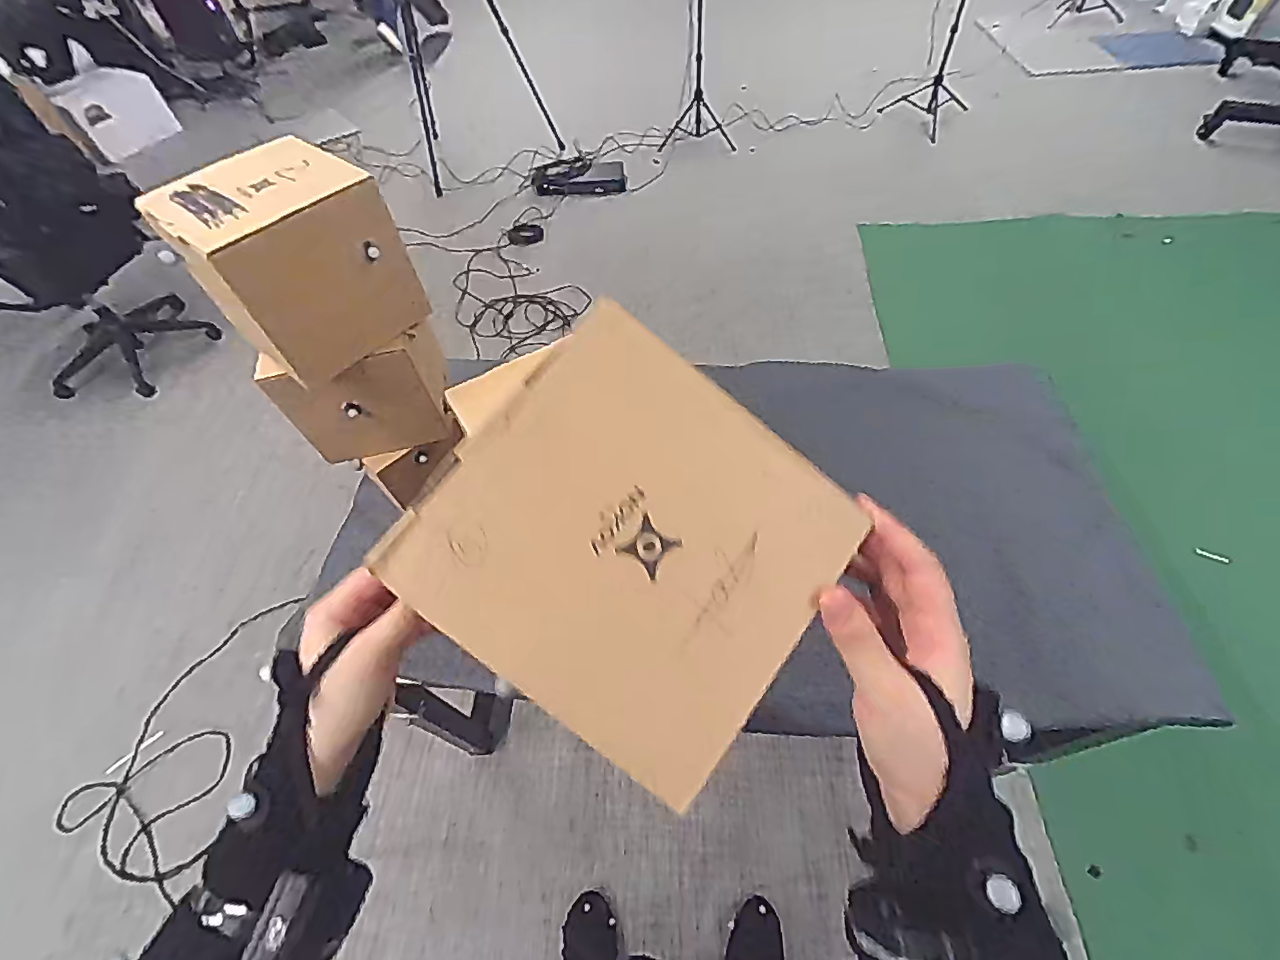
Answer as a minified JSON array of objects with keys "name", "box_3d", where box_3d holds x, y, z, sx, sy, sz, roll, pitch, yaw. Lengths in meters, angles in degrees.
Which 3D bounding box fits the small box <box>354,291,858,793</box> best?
[{"name":"small box","box_3d":[-0.020,0.033,0.324,0.179,0.176,0.168,38,78,-4]}]

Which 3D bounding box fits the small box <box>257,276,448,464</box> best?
[{"name":"small box","box_3d":[-0.375,-0.146,0.743,0.179,0.176,0.168,-14,55,-5]}]

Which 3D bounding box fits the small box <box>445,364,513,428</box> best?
[{"name":"small box","box_3d":[-0.096,-0.025,0.633,0.168,0.176,0.179,-29,56,-15]}]

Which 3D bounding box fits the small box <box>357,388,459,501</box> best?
[{"name":"small box","box_3d":[-0.363,-0.054,0.880,0.179,0.176,0.168,37,65,26]}]
